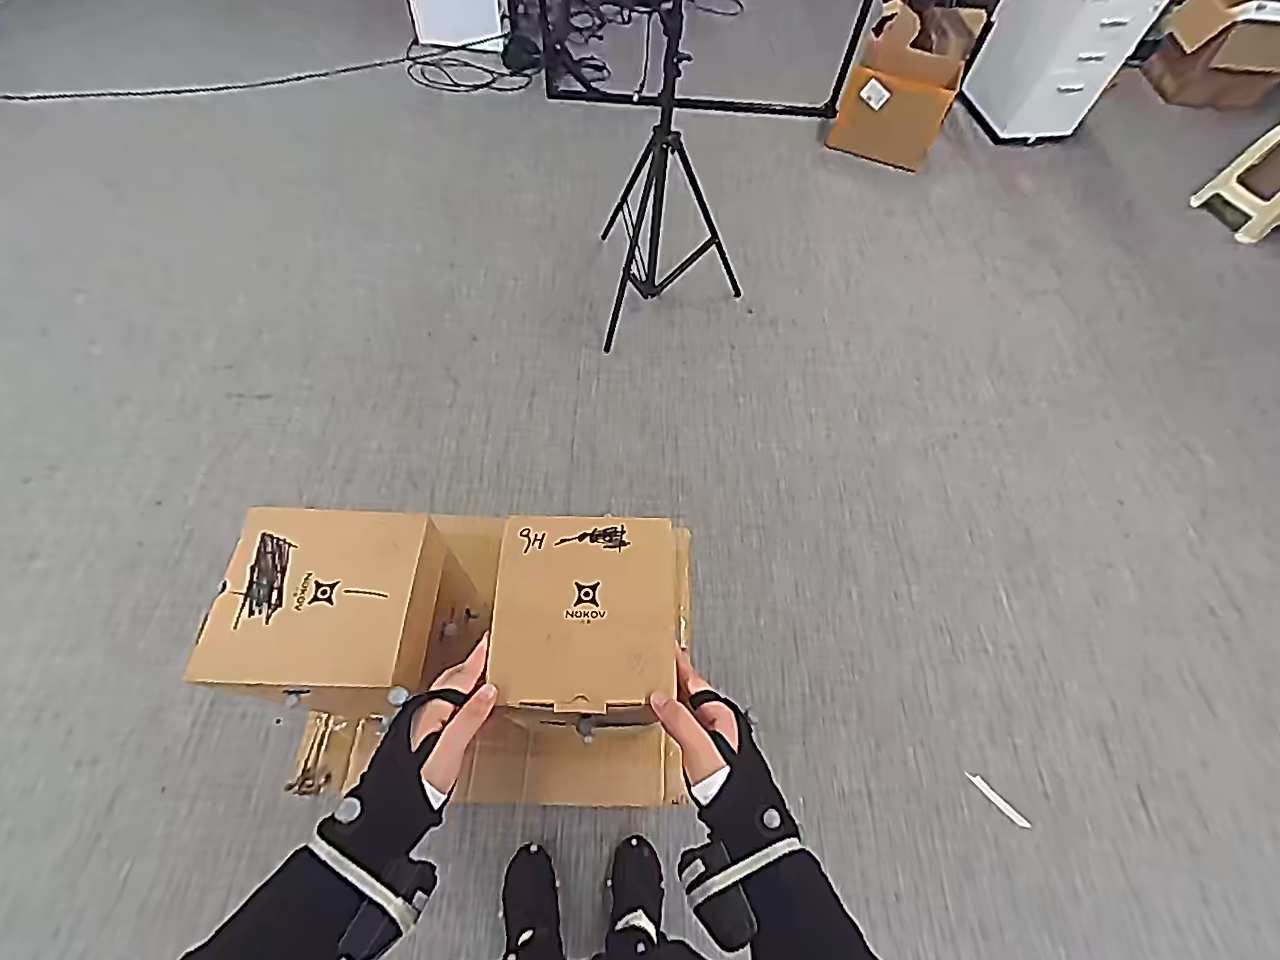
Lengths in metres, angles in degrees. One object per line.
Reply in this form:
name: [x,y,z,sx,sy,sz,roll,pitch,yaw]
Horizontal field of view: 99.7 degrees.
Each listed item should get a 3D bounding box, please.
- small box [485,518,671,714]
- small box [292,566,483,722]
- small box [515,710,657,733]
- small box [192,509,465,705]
small box: [-0.055,0.152,0.573,0.168,0.176,0.179,0,63,-2]
small box: [-0.315,0.218,0.720,0.168,0.176,0.179,2,63,-2]
small box: [-0.063,0.235,0.724,0.168,0.176,0.179,2,62,-1]
small box: [-0.303,0.142,0.575,0.179,0.176,0.168,2,62,-3]
